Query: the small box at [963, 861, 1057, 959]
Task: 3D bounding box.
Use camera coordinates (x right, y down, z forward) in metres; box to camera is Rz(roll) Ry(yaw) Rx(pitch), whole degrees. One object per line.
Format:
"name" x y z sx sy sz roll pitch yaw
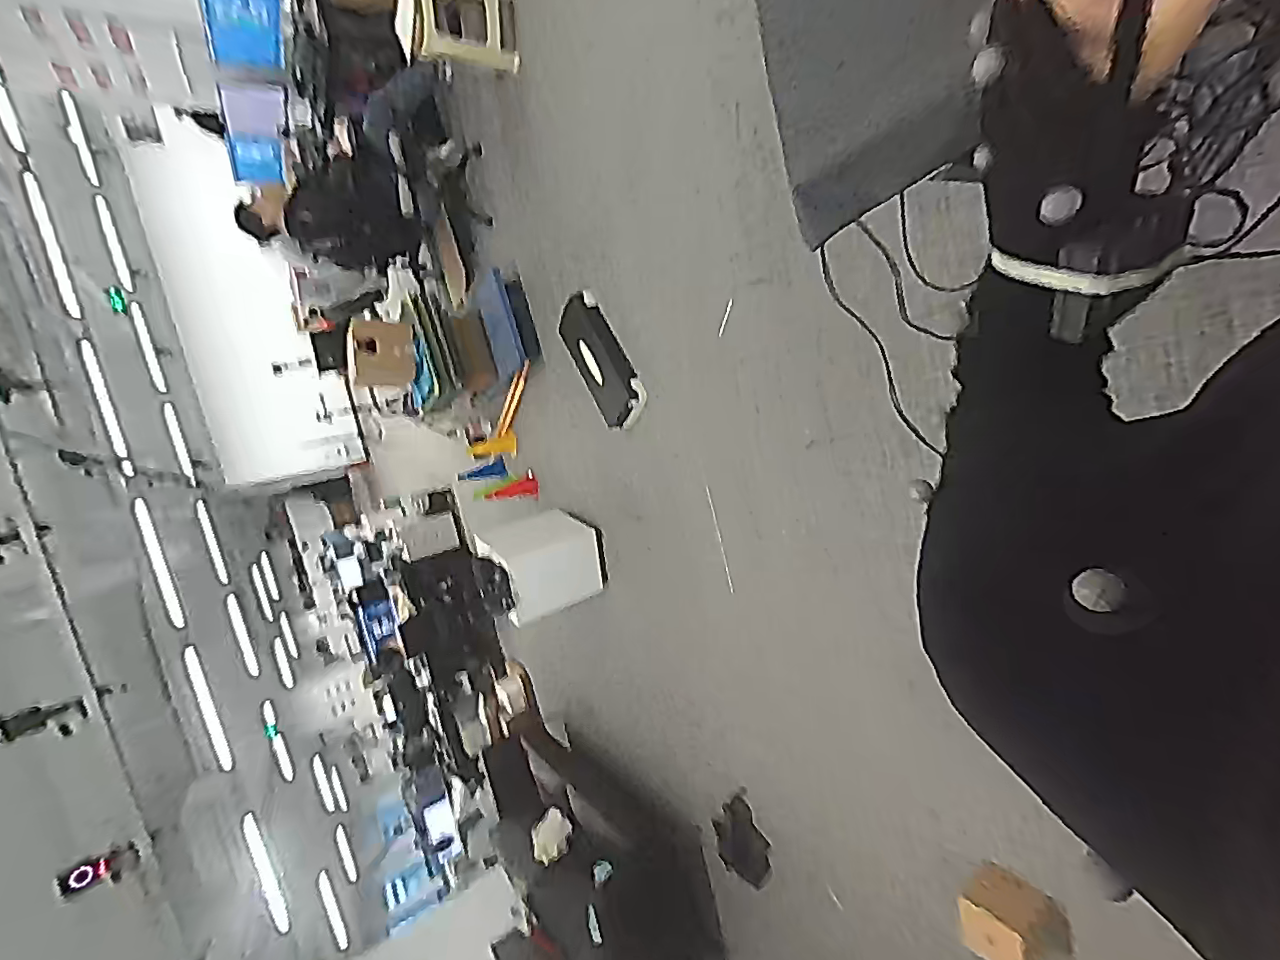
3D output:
"small box" 1.034 1.226 1.511 0.168 0.176 0.179 5 110 58
